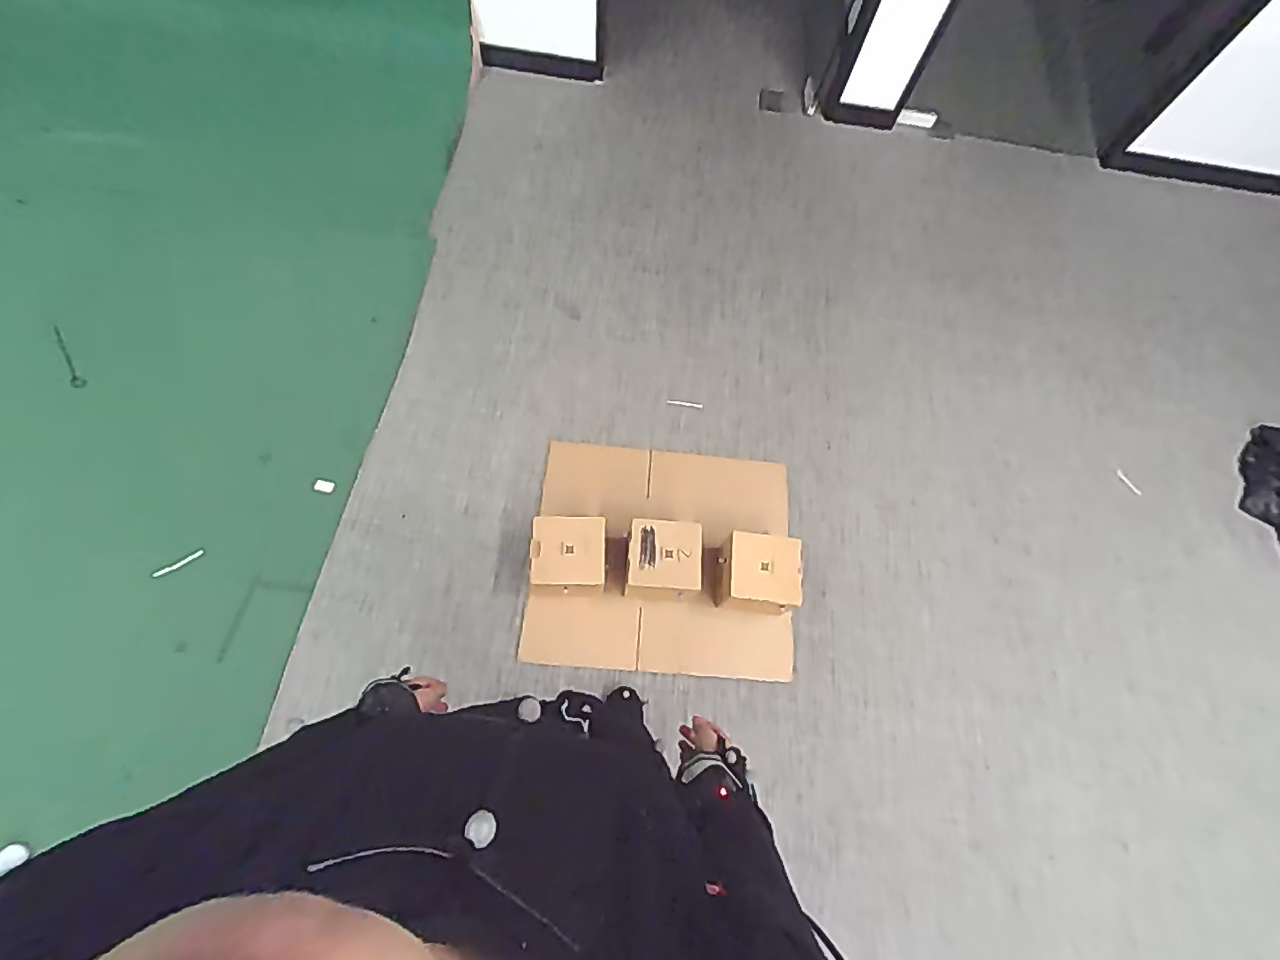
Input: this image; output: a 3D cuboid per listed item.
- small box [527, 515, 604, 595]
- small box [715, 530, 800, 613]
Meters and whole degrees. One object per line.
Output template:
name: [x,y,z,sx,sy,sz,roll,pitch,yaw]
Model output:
small box: [-0.181,0.190,1.344,0.179,0.176,0.168,1,69,-6]
small box: [0.292,0.237,1.370,0.179,0.176,0.168,7,67,-3]
